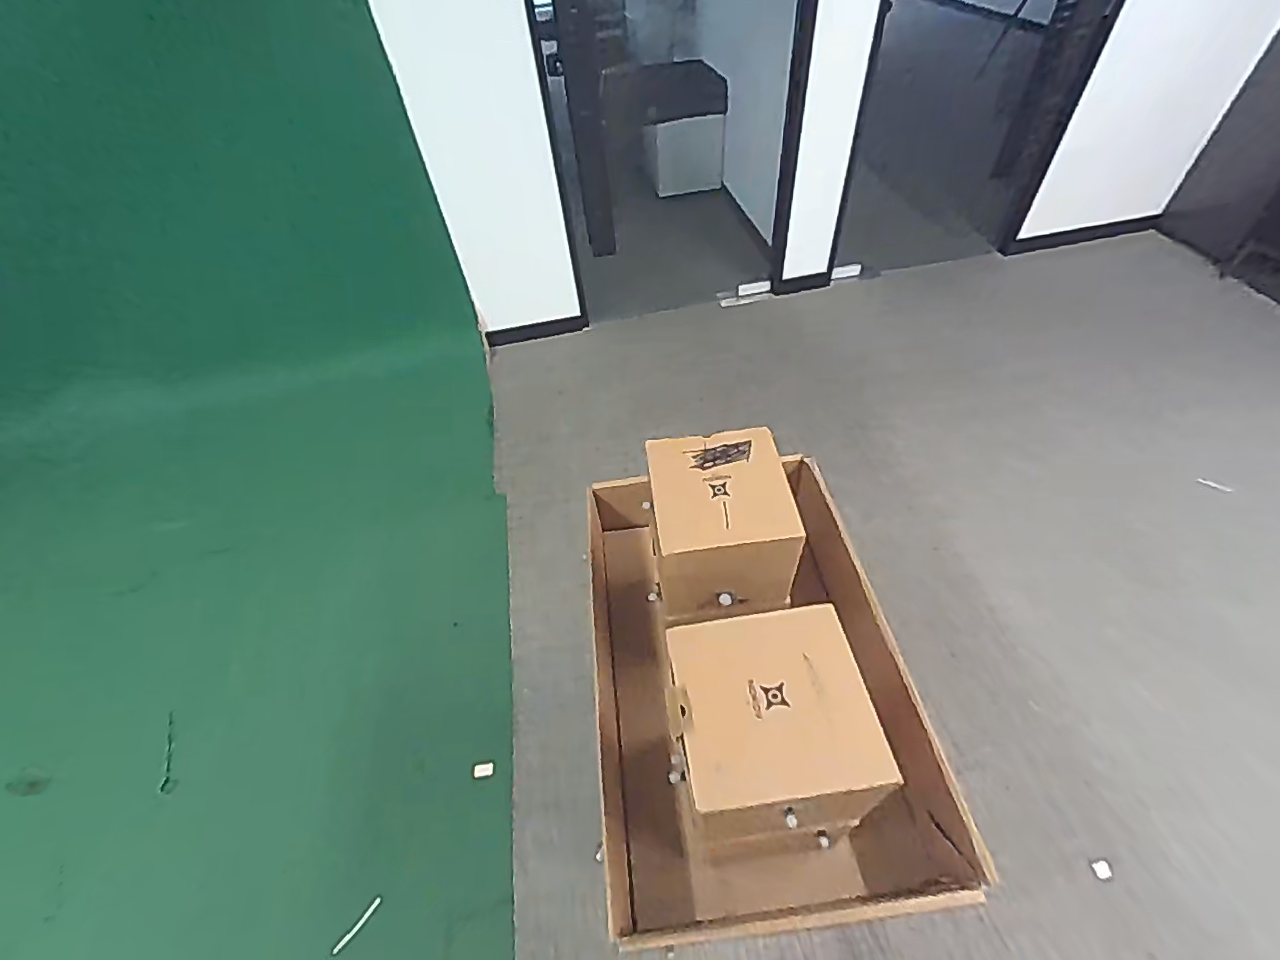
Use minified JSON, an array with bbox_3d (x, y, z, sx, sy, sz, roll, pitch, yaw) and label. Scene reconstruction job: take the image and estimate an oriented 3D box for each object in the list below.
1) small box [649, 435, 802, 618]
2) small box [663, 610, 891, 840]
[{"bbox_3d":[0.101,0.064,0.725,0.168,0.176,0.179,-6,52,0],"label":"small box"},{"bbox_3d":[0.124,0.258,0.562,0.179,0.176,0.168,-8,49,-2],"label":"small box"}]
